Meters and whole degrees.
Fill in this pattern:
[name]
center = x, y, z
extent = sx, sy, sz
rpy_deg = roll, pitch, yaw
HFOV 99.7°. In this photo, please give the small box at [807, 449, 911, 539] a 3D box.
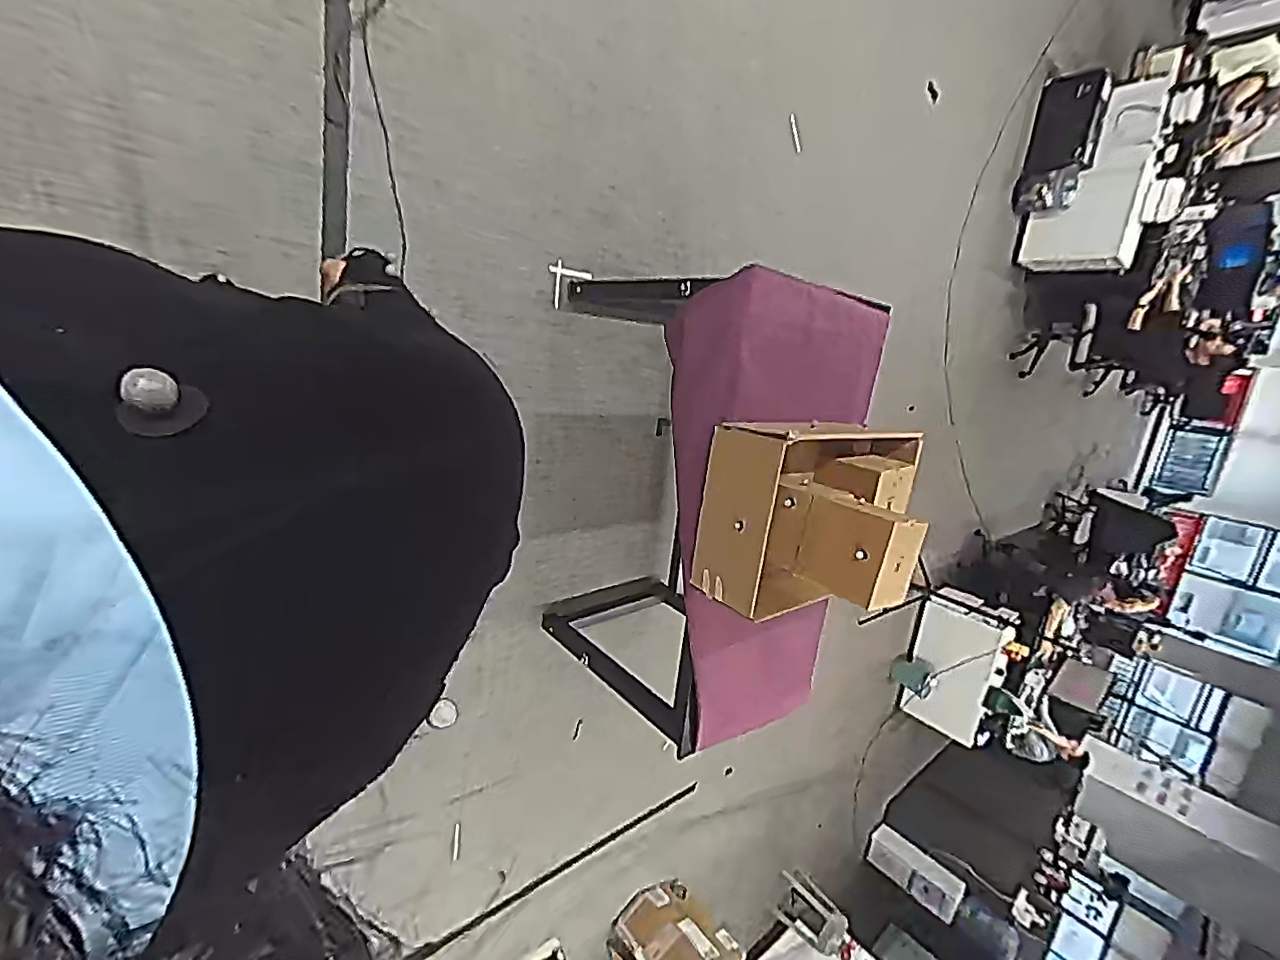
[small box]
center = 0.549, 0.029, 1.371
extent = 0.168, 0.176, 0.179
rpy_deg = -8, 111, -39
